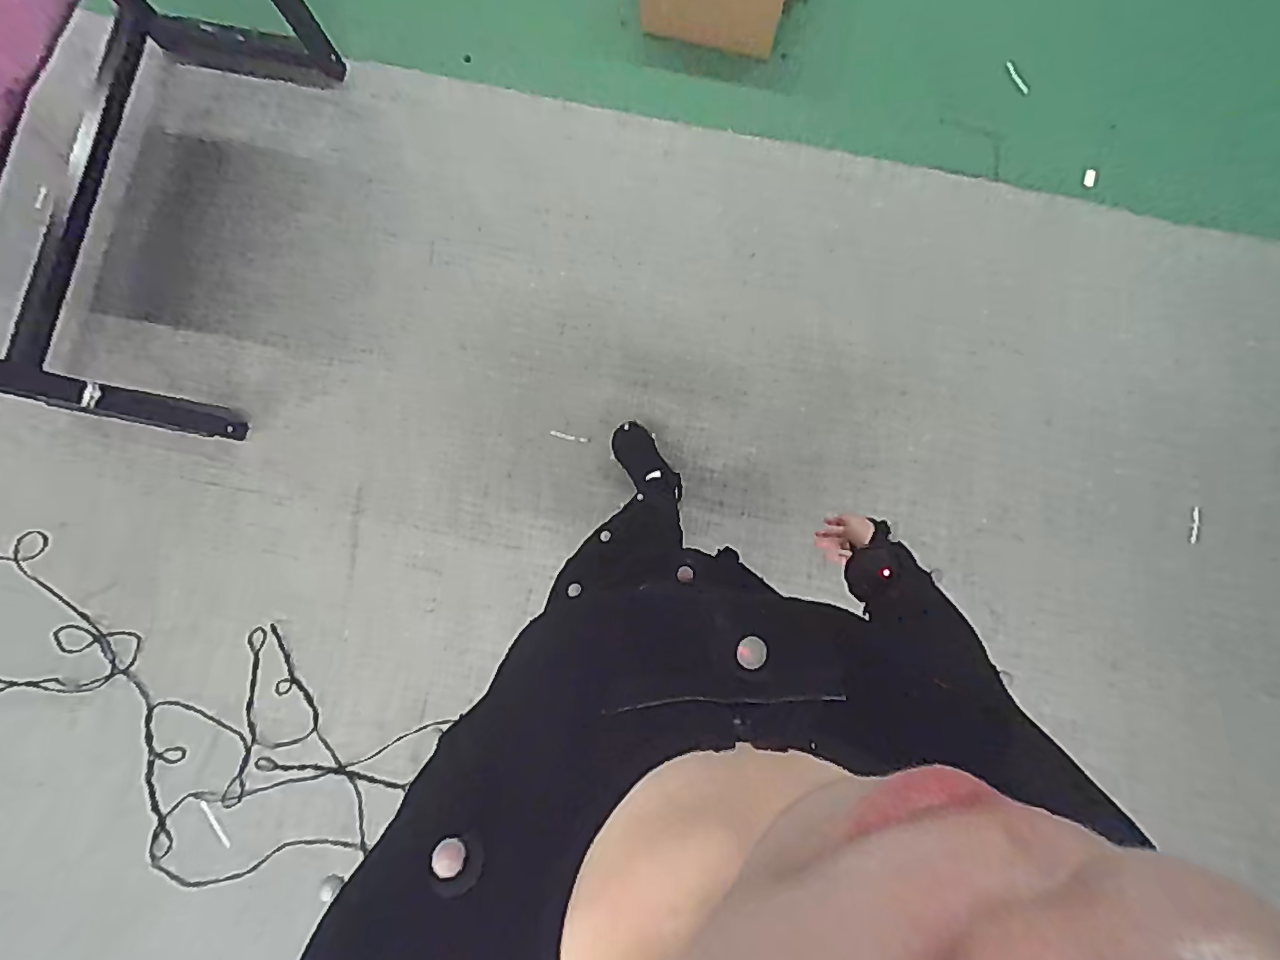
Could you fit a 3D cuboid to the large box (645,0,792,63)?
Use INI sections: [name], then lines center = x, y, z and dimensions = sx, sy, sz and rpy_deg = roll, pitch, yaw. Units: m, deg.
[large box]
center = 0.240, -1.454, 1.498
dimensions = 0.408, 0.320, 0.320
rpy_deg = 14, 85, 1
